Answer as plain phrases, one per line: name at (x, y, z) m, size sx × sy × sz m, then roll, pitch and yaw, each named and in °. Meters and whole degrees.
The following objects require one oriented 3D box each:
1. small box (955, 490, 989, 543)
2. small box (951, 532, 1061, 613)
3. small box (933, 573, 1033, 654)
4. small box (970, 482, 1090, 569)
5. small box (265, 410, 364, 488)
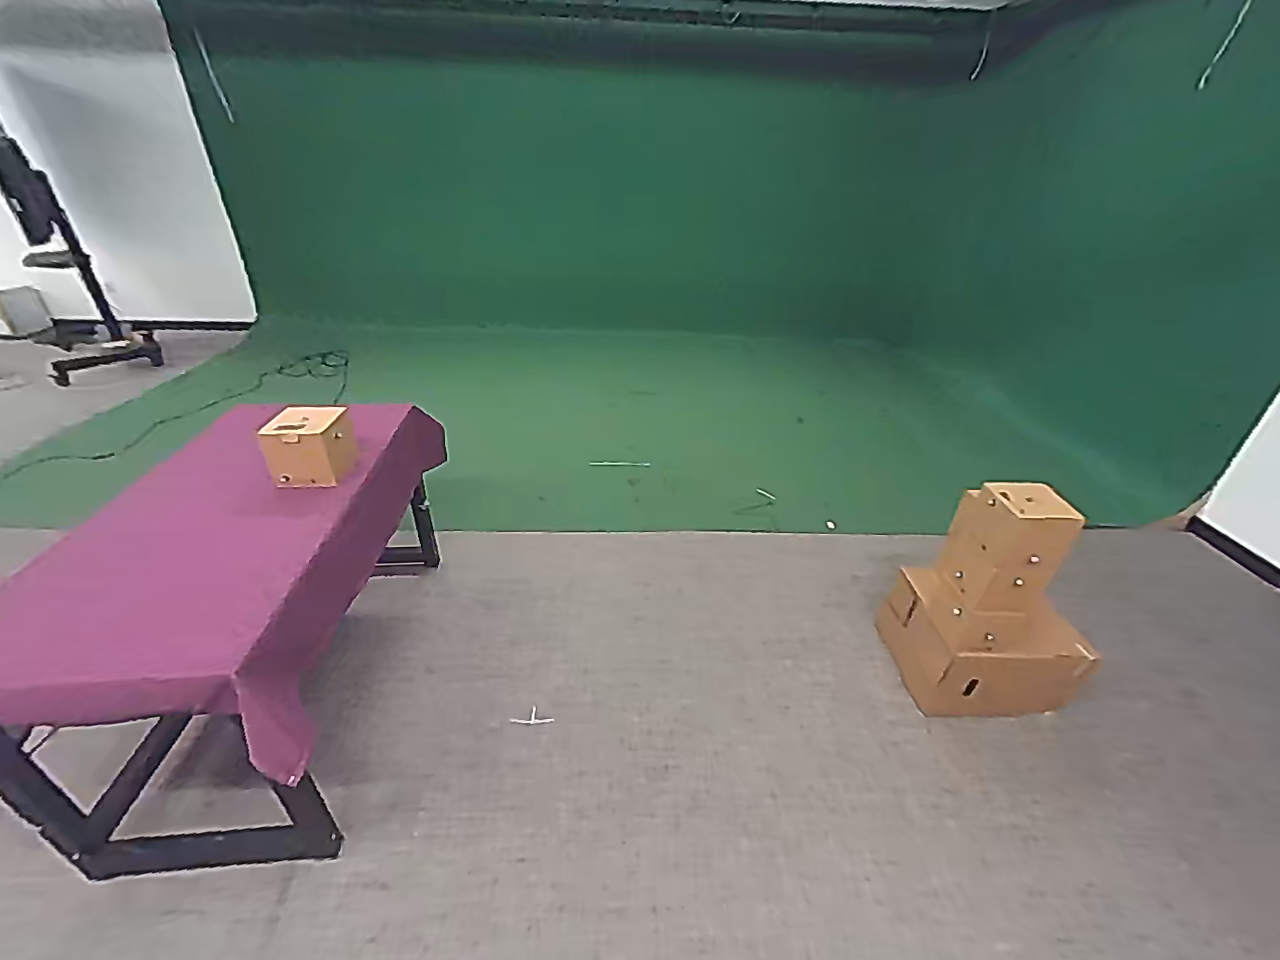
small box at (1.164, 0.150, 1.744) m, size 0.168 × 0.176 × 0.179 m, roll 2°, pitch 30°, yaw -5°
small box at (1.032, 0.264, 1.542) m, size 0.179 × 0.176 × 0.168 m, roll 1°, pitch 32°, yaw -1°
small box at (1.022, 0.403, 1.627) m, size 0.168 × 0.176 × 0.179 m, roll 2°, pitch 32°, yaw -2°
small box at (1.036, 0.124, 1.455) m, size 0.179 × 0.176 × 0.168 m, roll 2°, pitch 32°, yaw -2°
small box at (-0.913, -0.087, 1.538) m, size 0.168 × 0.176 × 0.179 m, roll 0°, pitch 31°, yaw -3°
